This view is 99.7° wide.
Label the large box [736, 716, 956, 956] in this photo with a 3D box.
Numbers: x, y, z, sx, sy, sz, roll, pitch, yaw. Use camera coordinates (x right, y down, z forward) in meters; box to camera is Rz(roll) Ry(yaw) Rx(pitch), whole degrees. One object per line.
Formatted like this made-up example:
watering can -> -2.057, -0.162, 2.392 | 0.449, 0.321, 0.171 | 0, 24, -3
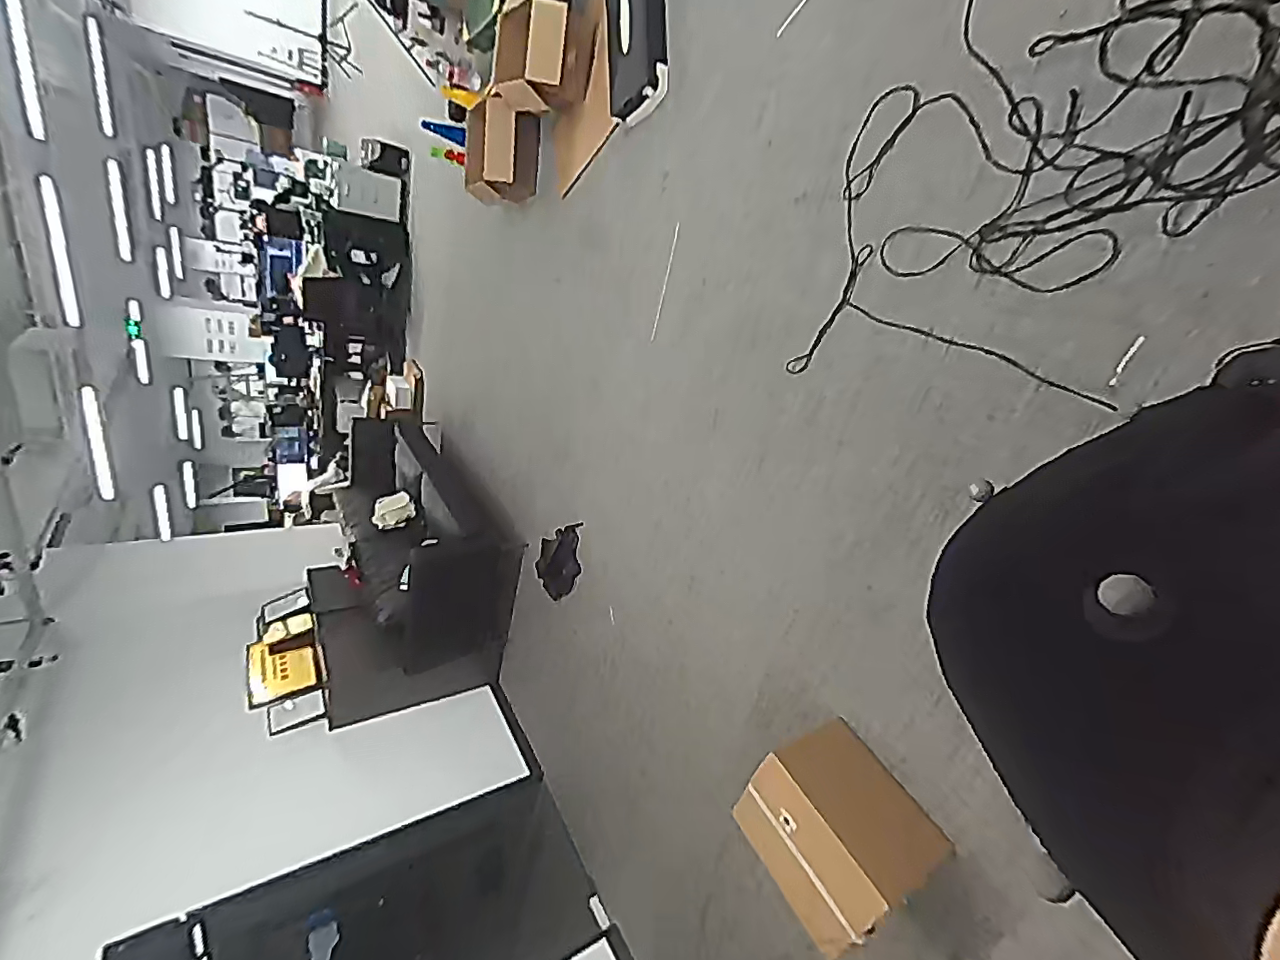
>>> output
large box -> 0.548, 0.950, 1.490 | 0.408, 0.320, 0.320 | 48, 130, 42
